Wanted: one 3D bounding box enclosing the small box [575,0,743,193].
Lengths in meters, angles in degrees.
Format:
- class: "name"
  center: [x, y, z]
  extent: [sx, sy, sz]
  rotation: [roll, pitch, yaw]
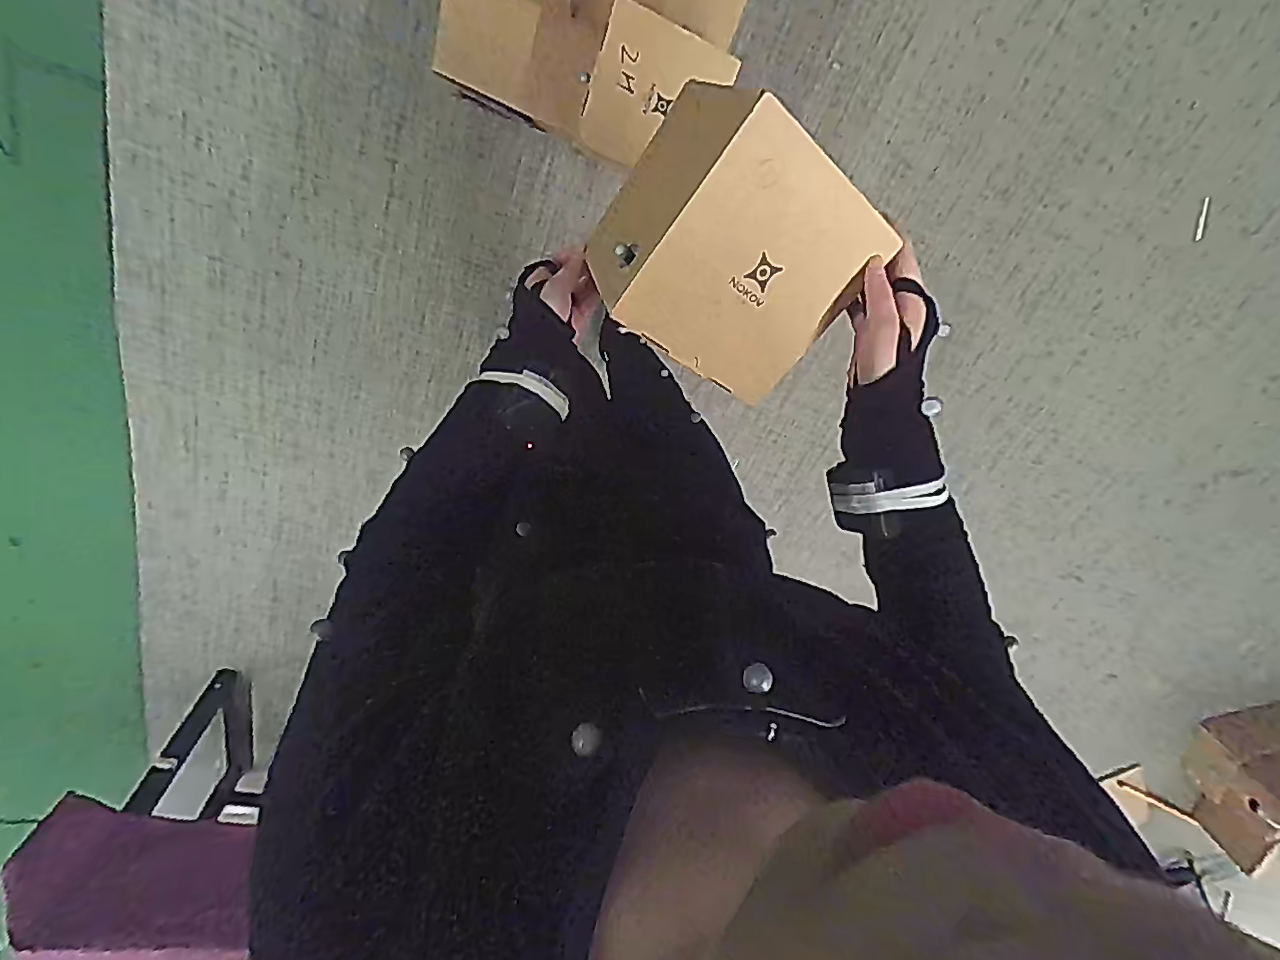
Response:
- class: "small box"
  center: [0.016, -0.533, 0.770]
  extent: [0.179, 0.176, 0.168]
  rotation: [17, 116, -16]
